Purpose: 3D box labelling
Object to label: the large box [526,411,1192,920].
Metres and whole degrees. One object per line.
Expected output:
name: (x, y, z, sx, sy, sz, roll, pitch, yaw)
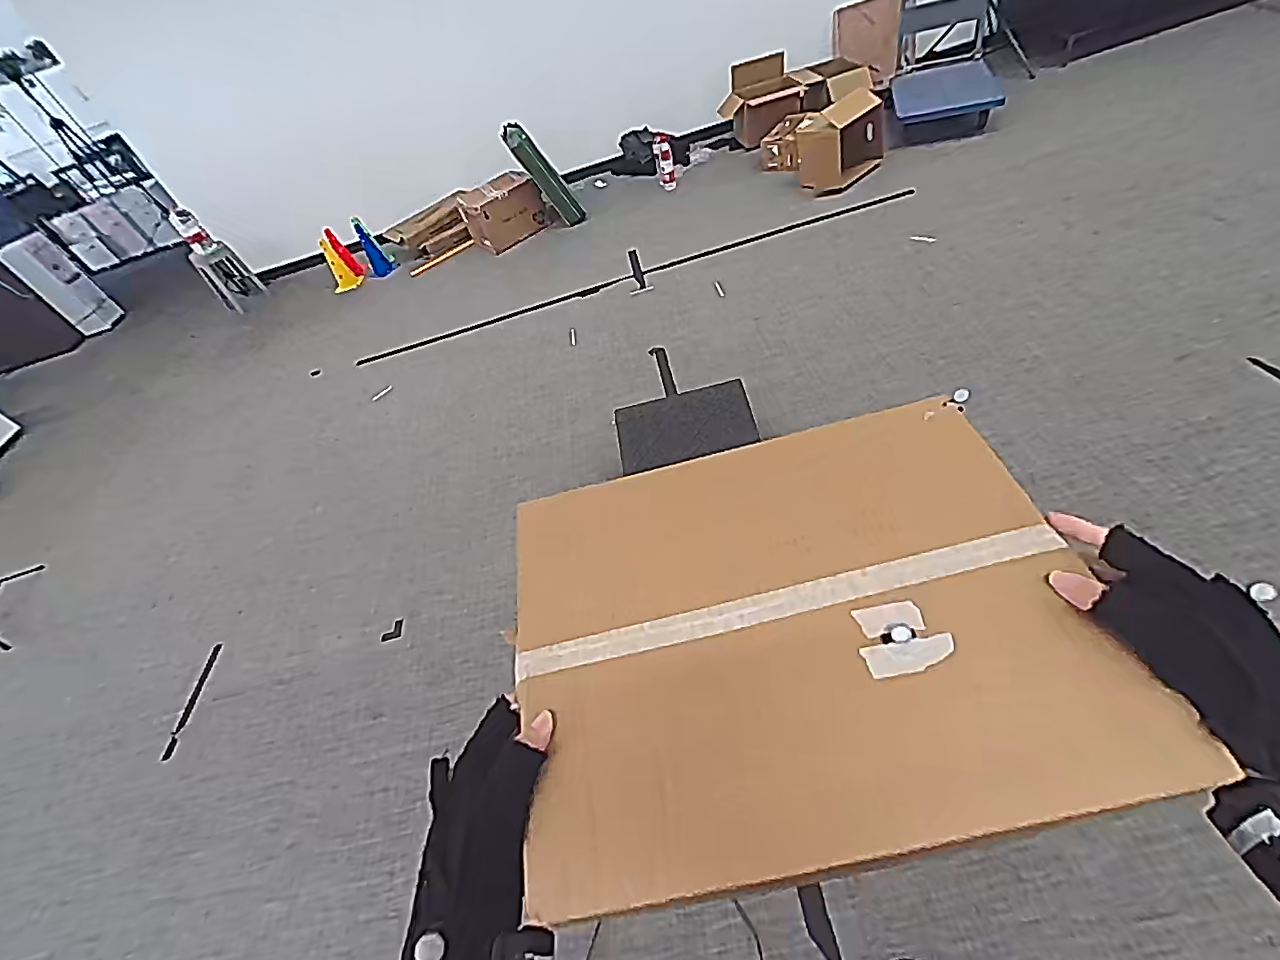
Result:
large box: (0.135, 0.191, 0.529, 0.408, 0.320, 0.320, -15, 51, 3)
